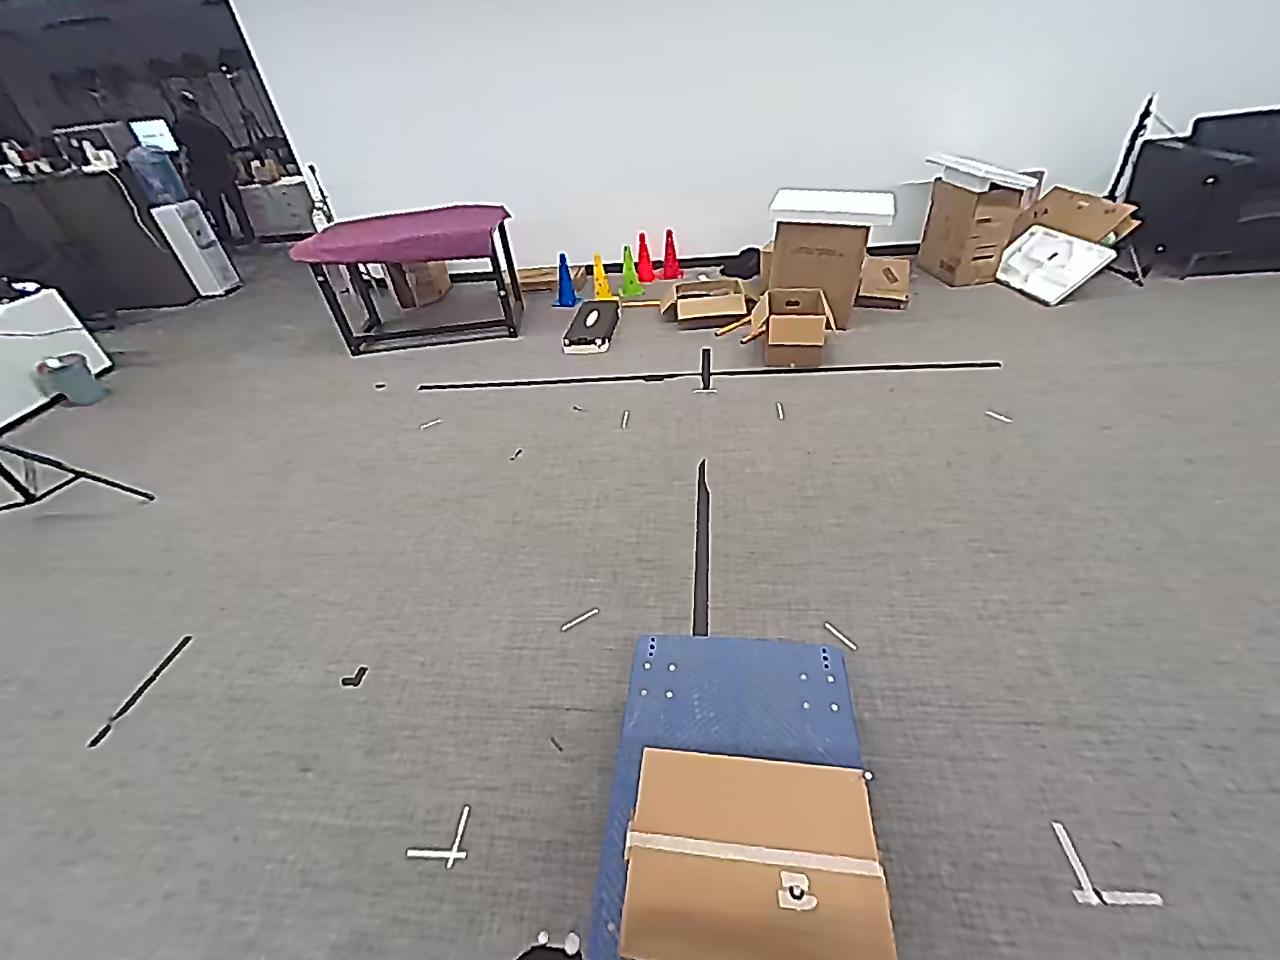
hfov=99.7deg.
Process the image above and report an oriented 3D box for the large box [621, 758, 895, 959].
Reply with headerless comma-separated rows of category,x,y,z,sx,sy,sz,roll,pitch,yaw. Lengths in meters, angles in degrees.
large box,0.192,0.743,0.972,0.408,0.320,0.320,2,40,8
